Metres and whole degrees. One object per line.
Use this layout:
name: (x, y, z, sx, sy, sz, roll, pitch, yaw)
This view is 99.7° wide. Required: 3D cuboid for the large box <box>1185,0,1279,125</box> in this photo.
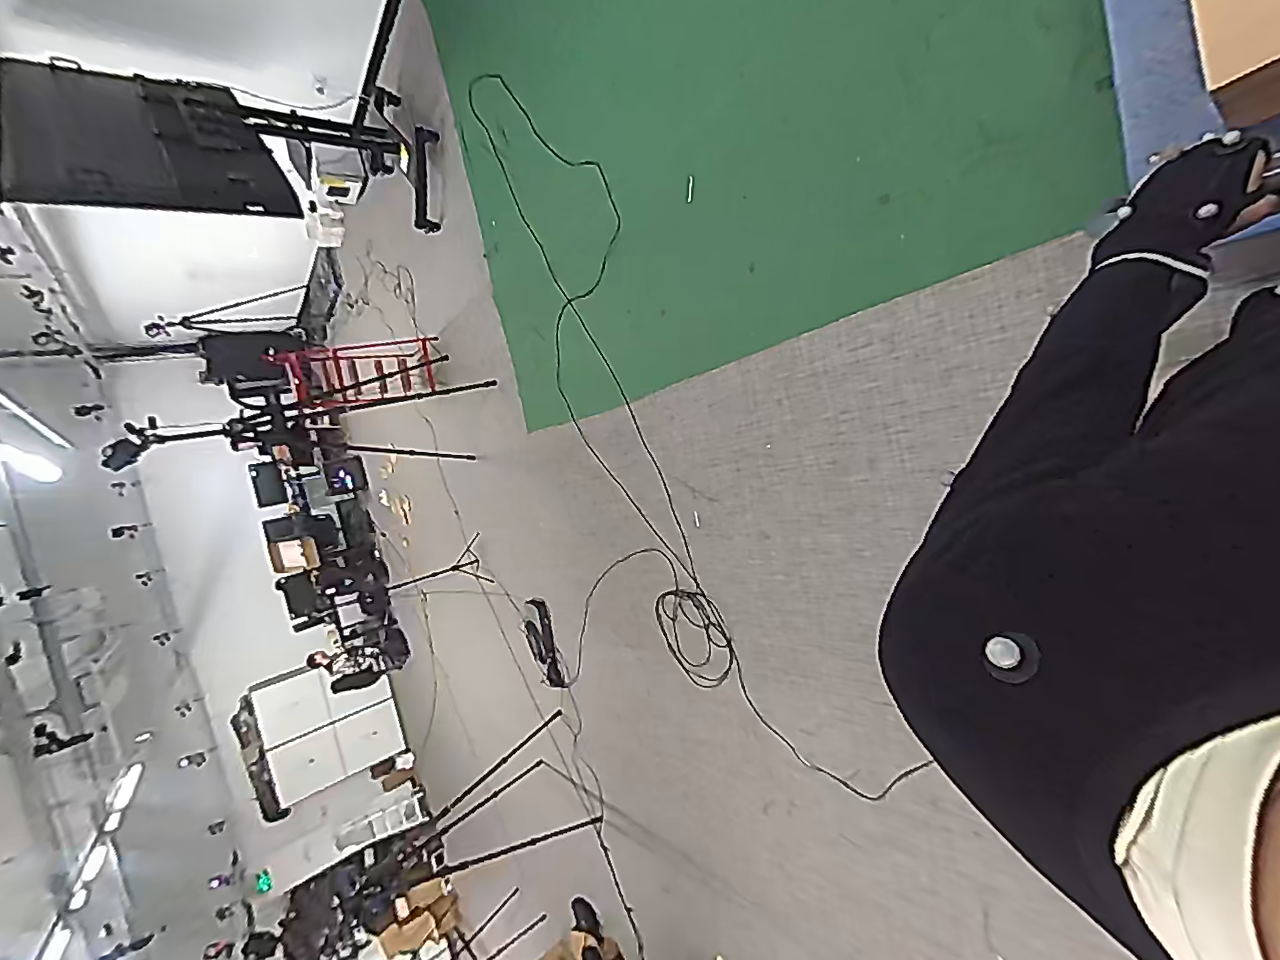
large box: (0.967, -0.792, 0.730, 0.320, 0.320, 0.408, -11, 93, 52)
